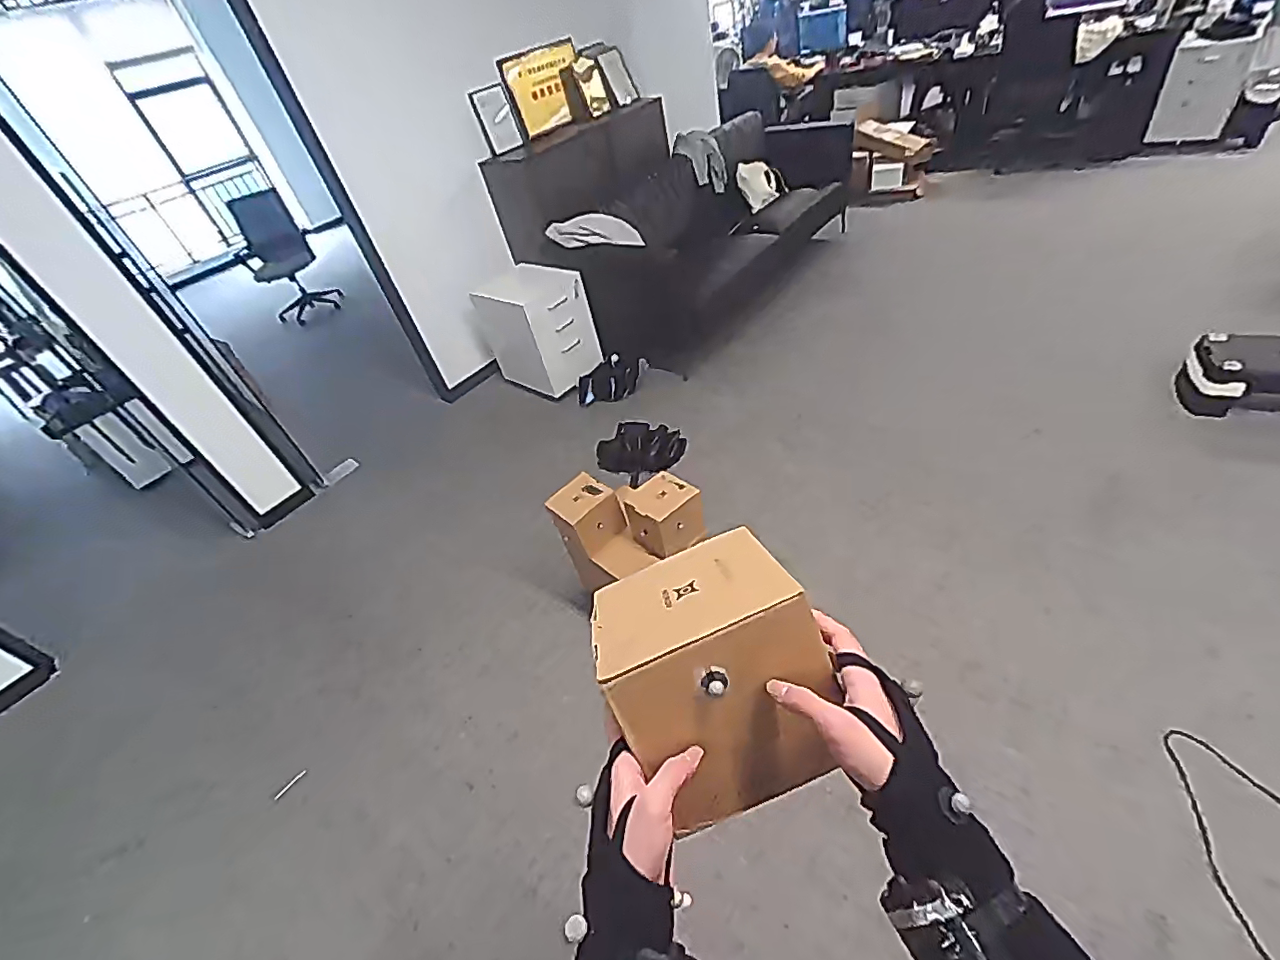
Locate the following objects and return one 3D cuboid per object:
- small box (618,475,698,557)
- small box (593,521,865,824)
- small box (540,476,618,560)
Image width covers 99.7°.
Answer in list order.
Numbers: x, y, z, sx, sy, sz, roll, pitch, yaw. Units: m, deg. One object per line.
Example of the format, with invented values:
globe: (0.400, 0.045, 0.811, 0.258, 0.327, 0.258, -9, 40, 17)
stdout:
small box: (0.063, 0.120, 1.672, 0.179, 0.176, 0.168, -36, 44, -26)
small box: (0.070, 0.164, 0.492, 0.179, 0.176, 0.168, -22, 14, -2)
small box: (-0.189, 0.123, 1.746, 0.179, 0.176, 0.168, -39, 45, -23)
